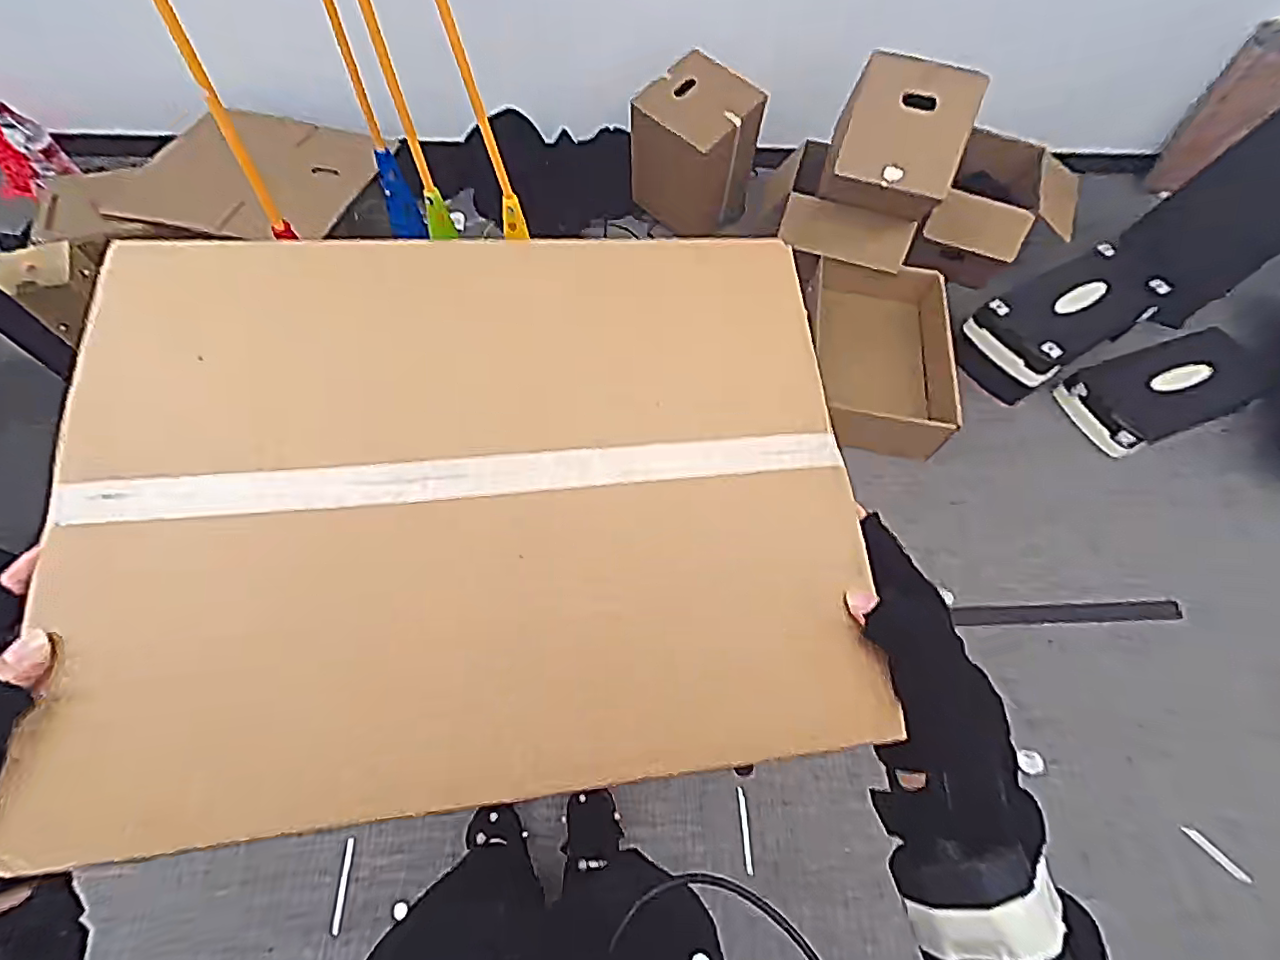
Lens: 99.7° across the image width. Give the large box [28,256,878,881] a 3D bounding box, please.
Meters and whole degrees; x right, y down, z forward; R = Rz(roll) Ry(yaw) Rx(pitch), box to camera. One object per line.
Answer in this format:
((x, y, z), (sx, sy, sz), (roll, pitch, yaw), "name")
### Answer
((-0.100, 0.052, 0.441), (0.408, 0.320, 0.320), (-4, 72, -8), "large box")
